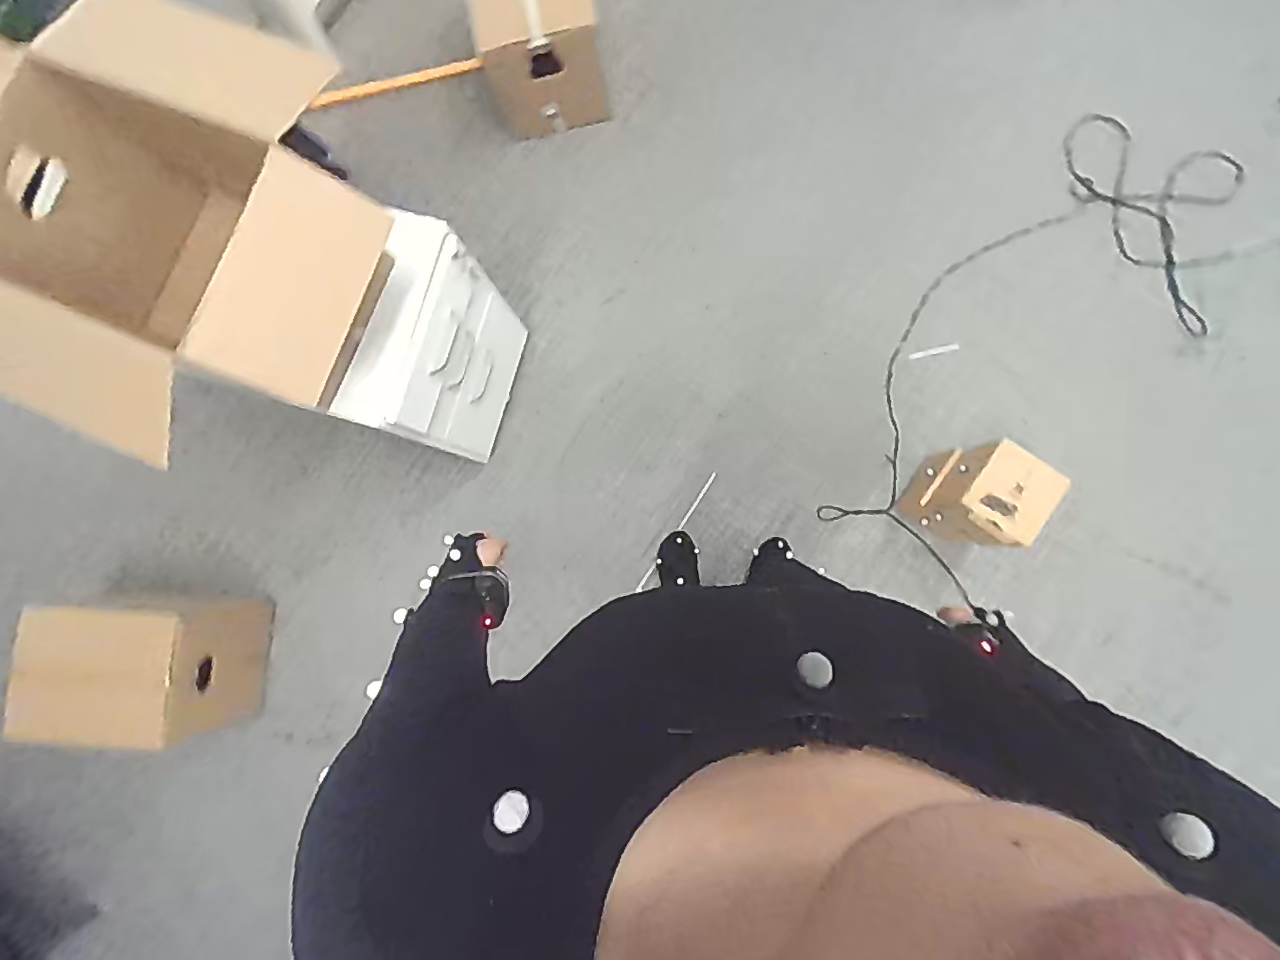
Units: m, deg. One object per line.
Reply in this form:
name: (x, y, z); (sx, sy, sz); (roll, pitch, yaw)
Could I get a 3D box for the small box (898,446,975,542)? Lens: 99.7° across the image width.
small box: (0.789, 0.042, 1.376); (0.168, 0.176, 0.179); (35, 87, 6)

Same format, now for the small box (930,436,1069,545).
small box: (0.788, 0.031, 1.212); (0.168, 0.176, 0.179); (36, 86, 6)
